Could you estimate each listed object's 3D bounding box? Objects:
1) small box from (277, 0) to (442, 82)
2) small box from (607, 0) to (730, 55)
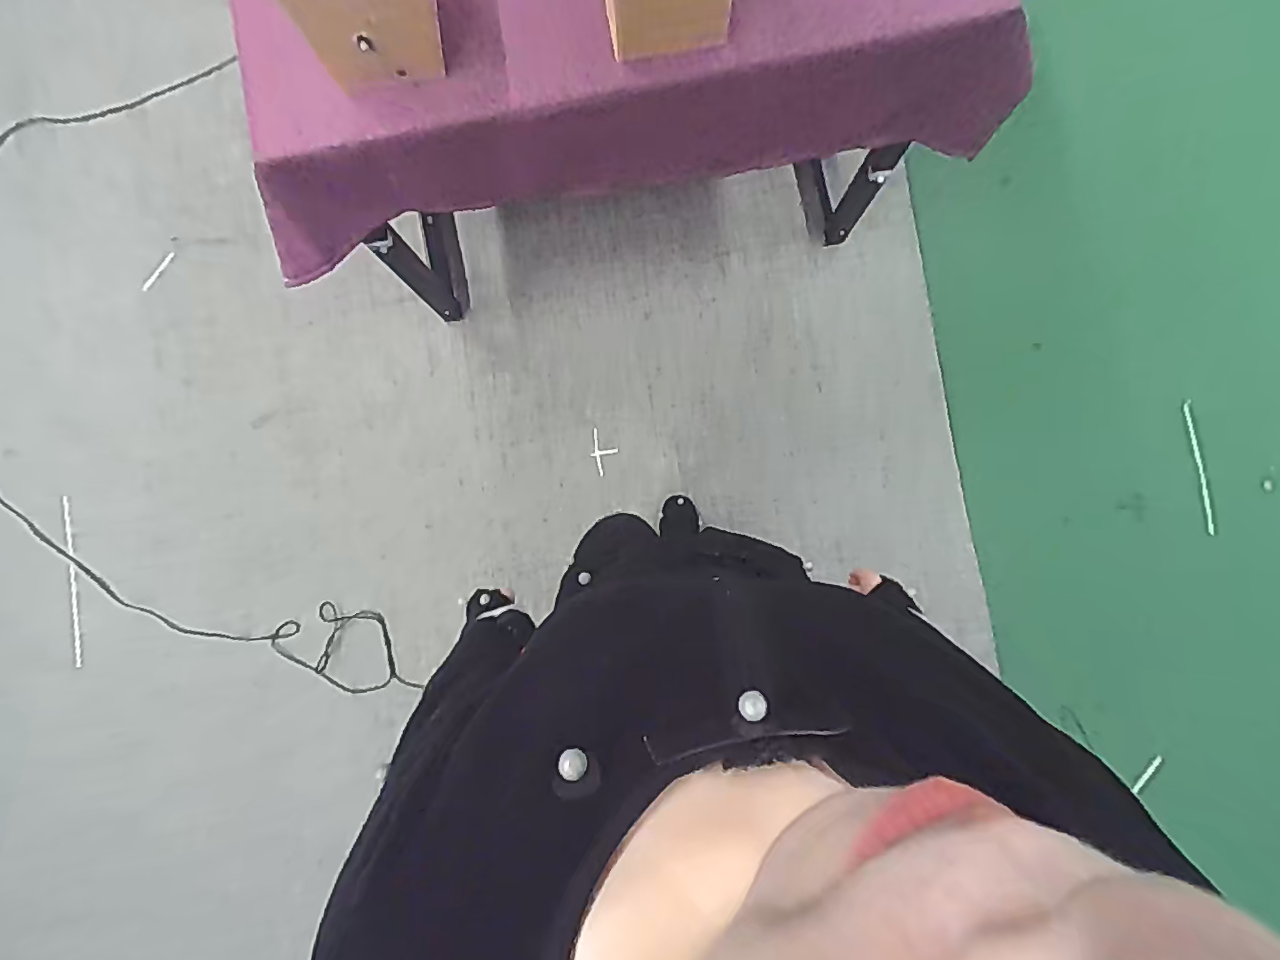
[{"bbox_3d":[-0.393,-0.701,0.759,0.168,0.176,0.179,-8,86,0],"label":"small box"},{"bbox_3d":[0.033,-0.743,0.756,0.179,0.176,0.168,-10,86,0],"label":"small box"}]
